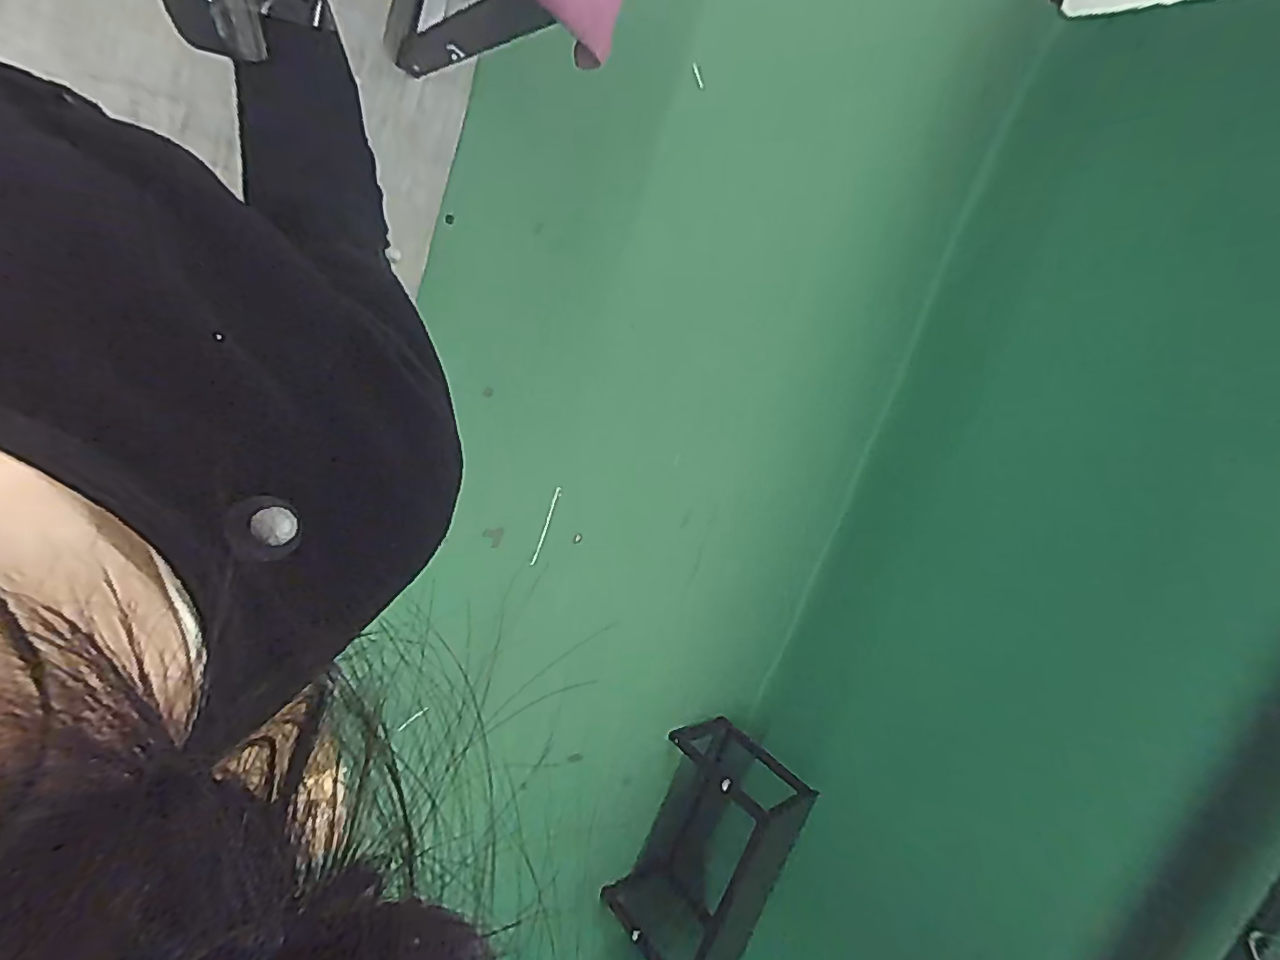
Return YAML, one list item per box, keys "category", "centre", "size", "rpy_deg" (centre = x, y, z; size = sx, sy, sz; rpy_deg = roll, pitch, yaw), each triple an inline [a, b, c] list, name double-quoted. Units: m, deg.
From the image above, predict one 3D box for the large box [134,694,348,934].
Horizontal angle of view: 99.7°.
- category: "large box"
  centre: [-1.060, 0.860, 1.456]
  size: [0.408, 0.320, 0.320]
  rpy_deg: [-10, 118, -43]

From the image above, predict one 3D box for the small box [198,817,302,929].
- category: "small box"
  centre: [-0.919, 0.949, 1.275]
  size: [0.179, 0.176, 0.168]
  rpy_deg: [-5, 113, -43]
